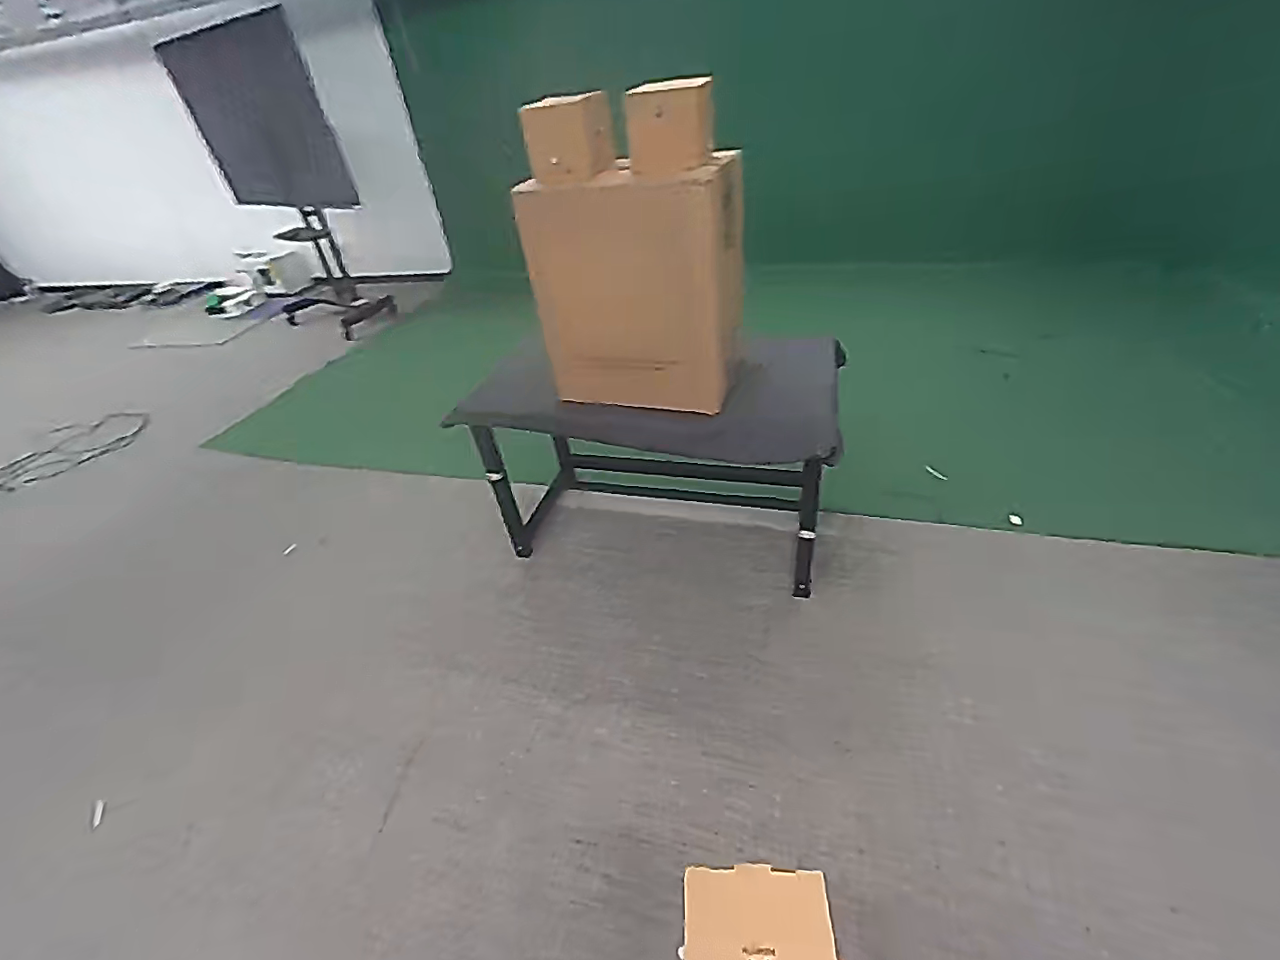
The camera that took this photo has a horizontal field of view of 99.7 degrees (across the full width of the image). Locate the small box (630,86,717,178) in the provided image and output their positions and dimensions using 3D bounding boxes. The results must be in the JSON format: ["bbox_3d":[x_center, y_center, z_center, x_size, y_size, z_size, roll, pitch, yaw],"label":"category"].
[{"bbox_3d":[0.089,-0.864,1.348,0.179,0.176,0.168,9,43,17],"label":"small box"}]

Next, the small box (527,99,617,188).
[{"bbox_3d":[-0.167,-0.879,1.416,0.168,0.176,0.179,7,42,20],"label":"small box"}]

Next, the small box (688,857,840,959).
[{"bbox_3d":[0.142,0.577,0.638,0.168,0.176,0.179,-3,40,8],"label":"small box"}]
